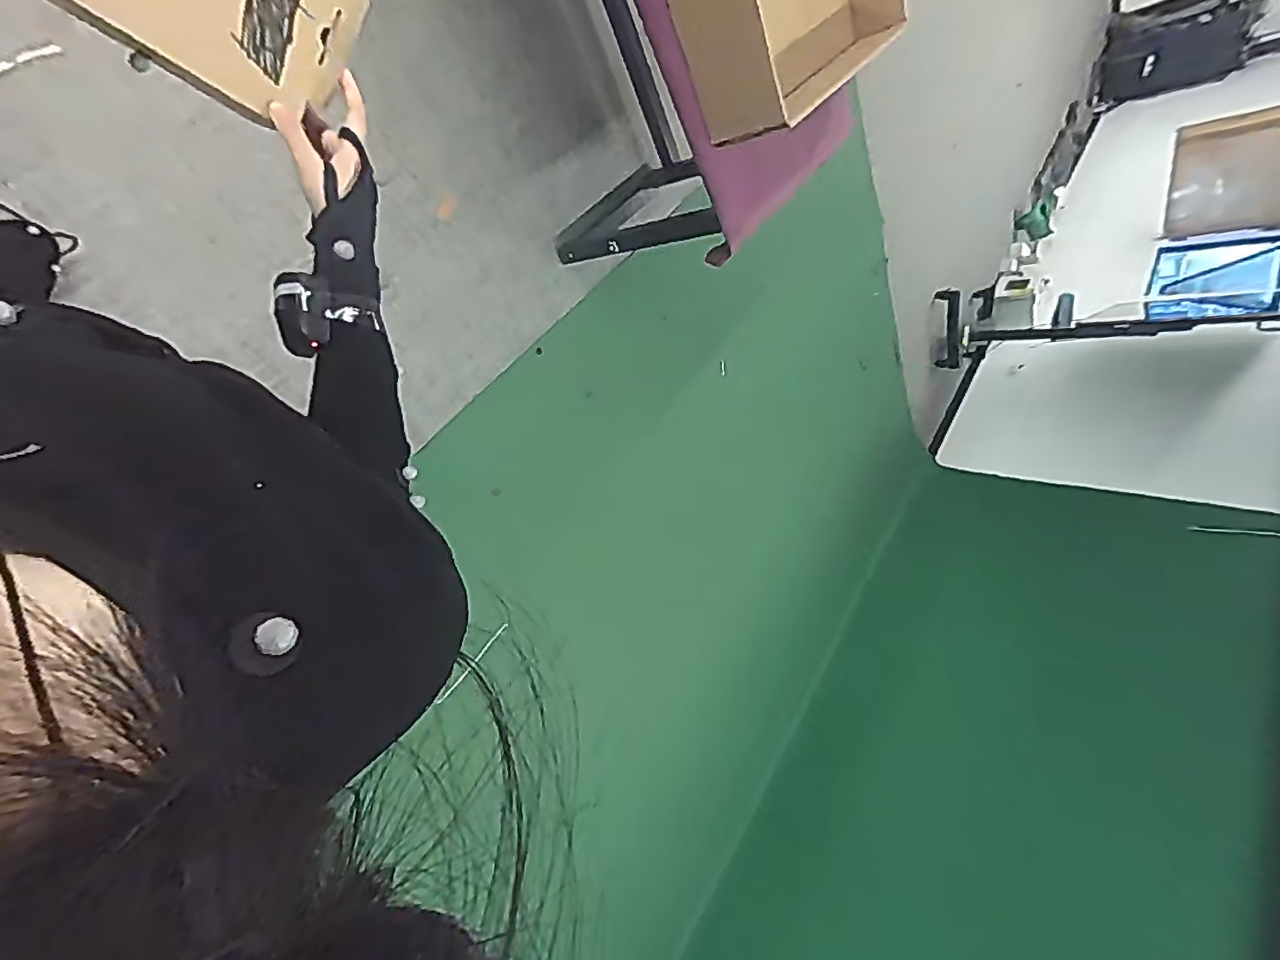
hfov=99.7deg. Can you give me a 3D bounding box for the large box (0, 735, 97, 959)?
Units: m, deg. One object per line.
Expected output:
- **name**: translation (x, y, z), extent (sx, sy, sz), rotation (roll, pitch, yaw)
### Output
- **large box**: translation (-1.243, 0.626, 0.883), extent (0.408, 0.320, 0.320), rotation (43, 69, -43)

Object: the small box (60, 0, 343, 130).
- **small box**: translation (-0.357, -0.418, 0.424), extent (0.179, 0.176, 0.168), rotation (17, 105, -50)
